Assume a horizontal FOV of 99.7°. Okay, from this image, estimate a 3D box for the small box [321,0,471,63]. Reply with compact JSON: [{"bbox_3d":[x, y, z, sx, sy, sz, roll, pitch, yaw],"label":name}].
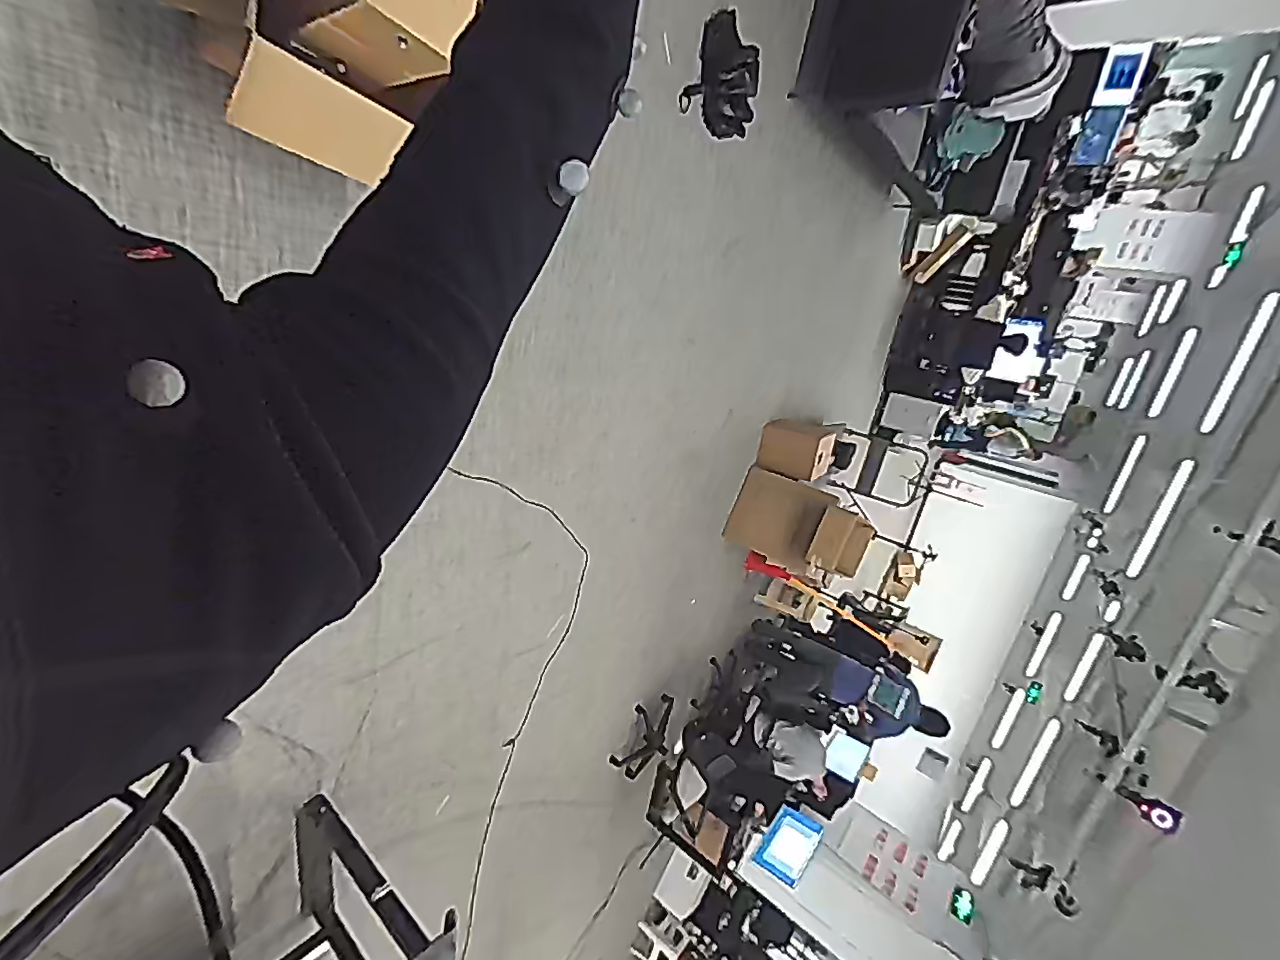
[{"bbox_3d":[-0.403,-0.830,0.898,0.179,0.176,0.168,-2,112,-53],"label":"small box"}]
